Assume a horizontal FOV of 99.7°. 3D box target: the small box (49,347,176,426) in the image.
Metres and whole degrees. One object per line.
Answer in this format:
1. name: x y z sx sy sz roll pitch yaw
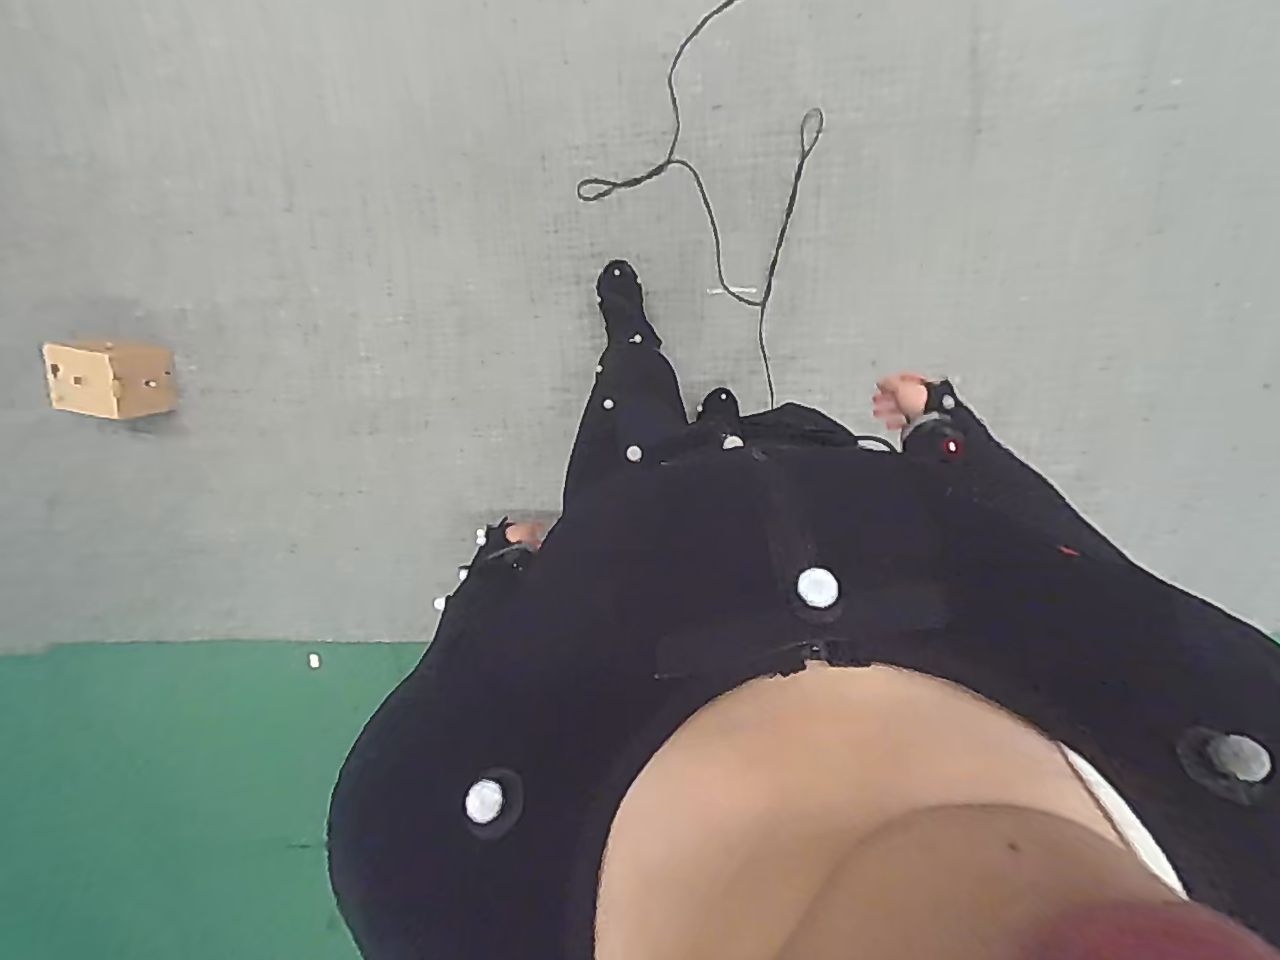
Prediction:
1. small box: -1.362 -0.251 1.414 0.179 0.176 0.168 10 107 0
